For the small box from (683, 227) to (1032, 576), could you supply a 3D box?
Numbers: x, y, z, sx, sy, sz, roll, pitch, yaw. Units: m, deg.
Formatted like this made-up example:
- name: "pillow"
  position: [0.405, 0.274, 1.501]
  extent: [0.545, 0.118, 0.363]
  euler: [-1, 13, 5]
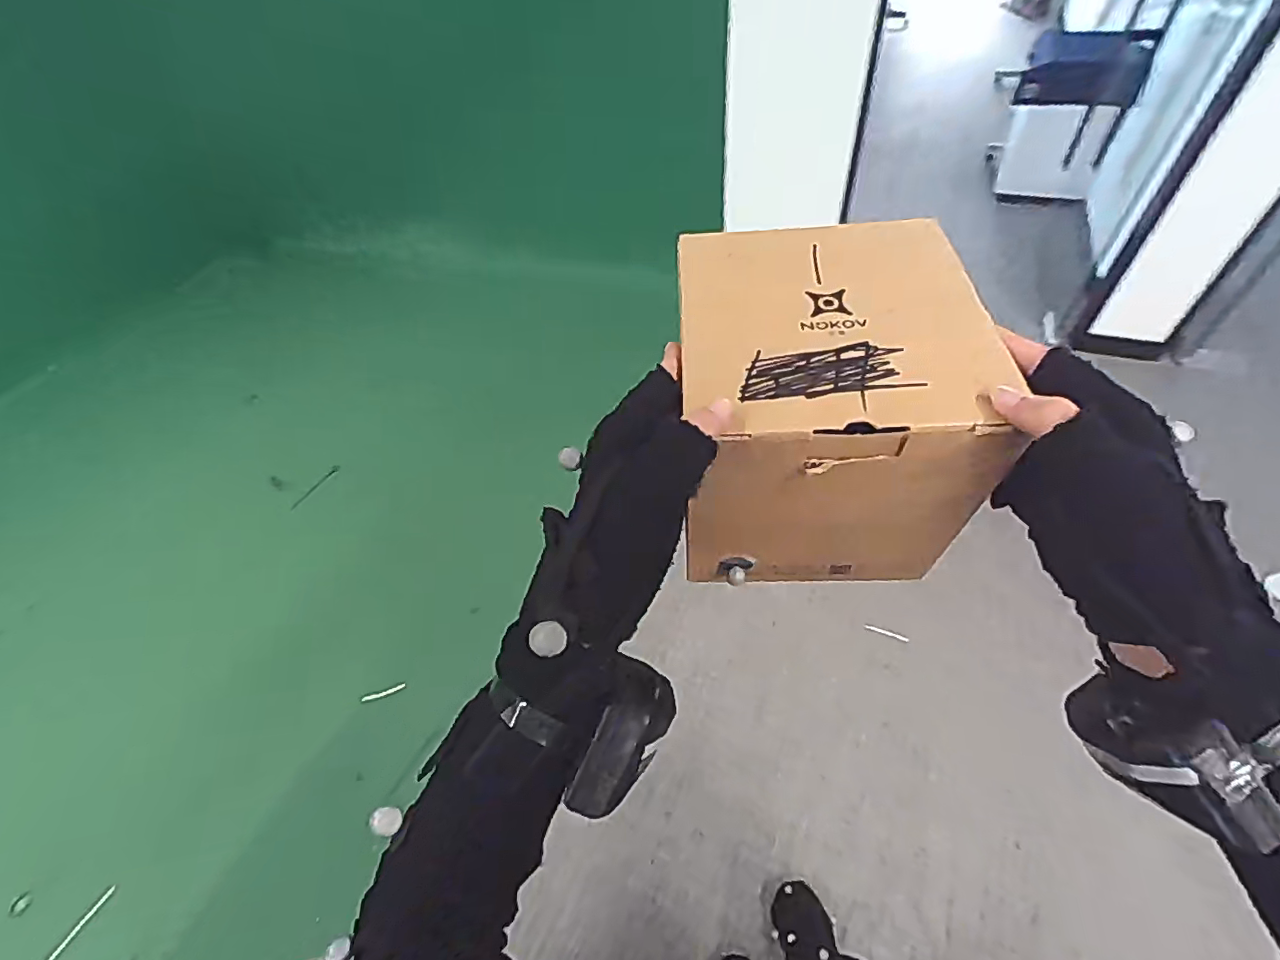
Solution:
- name: "small box"
  position: [0.115, -0.044, 0.372]
  extent: [0.168, 0.176, 0.179]
  euler: [-1, 54, 5]
